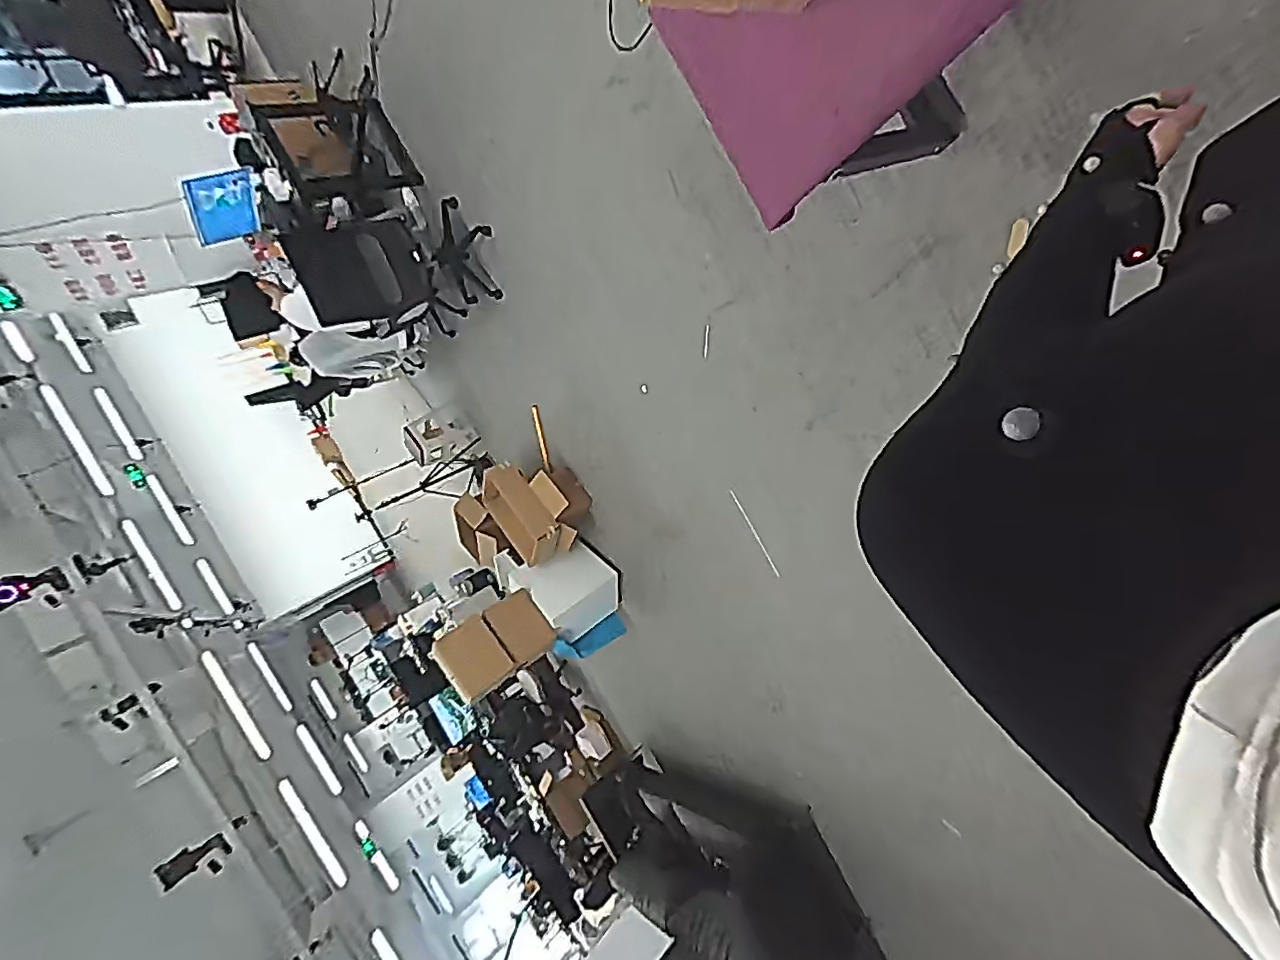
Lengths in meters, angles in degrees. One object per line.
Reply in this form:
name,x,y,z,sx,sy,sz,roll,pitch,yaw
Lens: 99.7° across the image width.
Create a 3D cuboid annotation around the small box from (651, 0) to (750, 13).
small box,0.082,-0.684,0.611,0.168,0.176,0.179,61,149,-2
